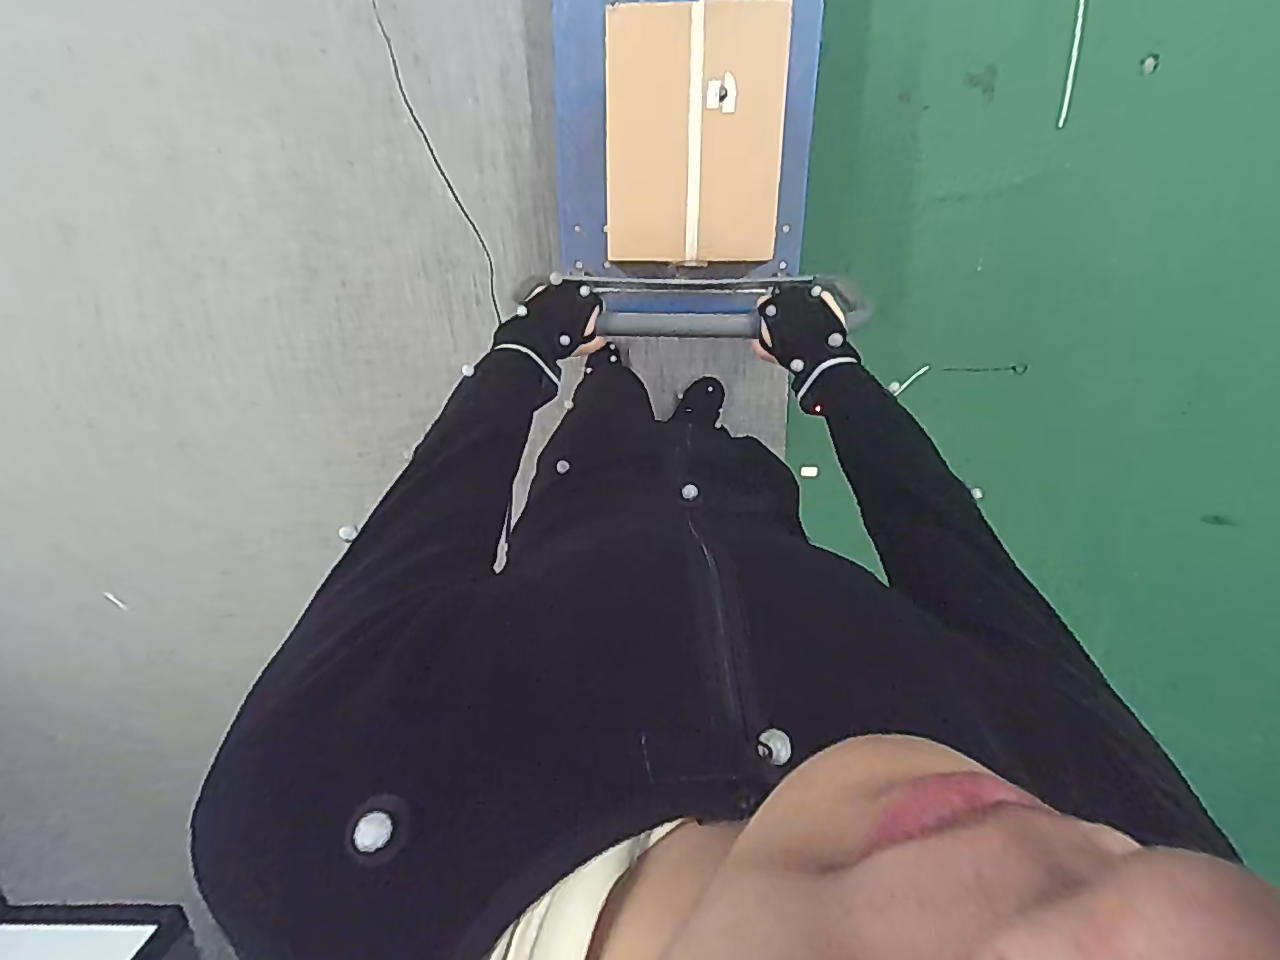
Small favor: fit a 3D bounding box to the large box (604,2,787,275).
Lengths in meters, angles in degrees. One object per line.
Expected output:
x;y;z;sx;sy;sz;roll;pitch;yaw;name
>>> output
0.105;-0.645;1.105;0.320;0.320;0.408;1;107;3;large box
